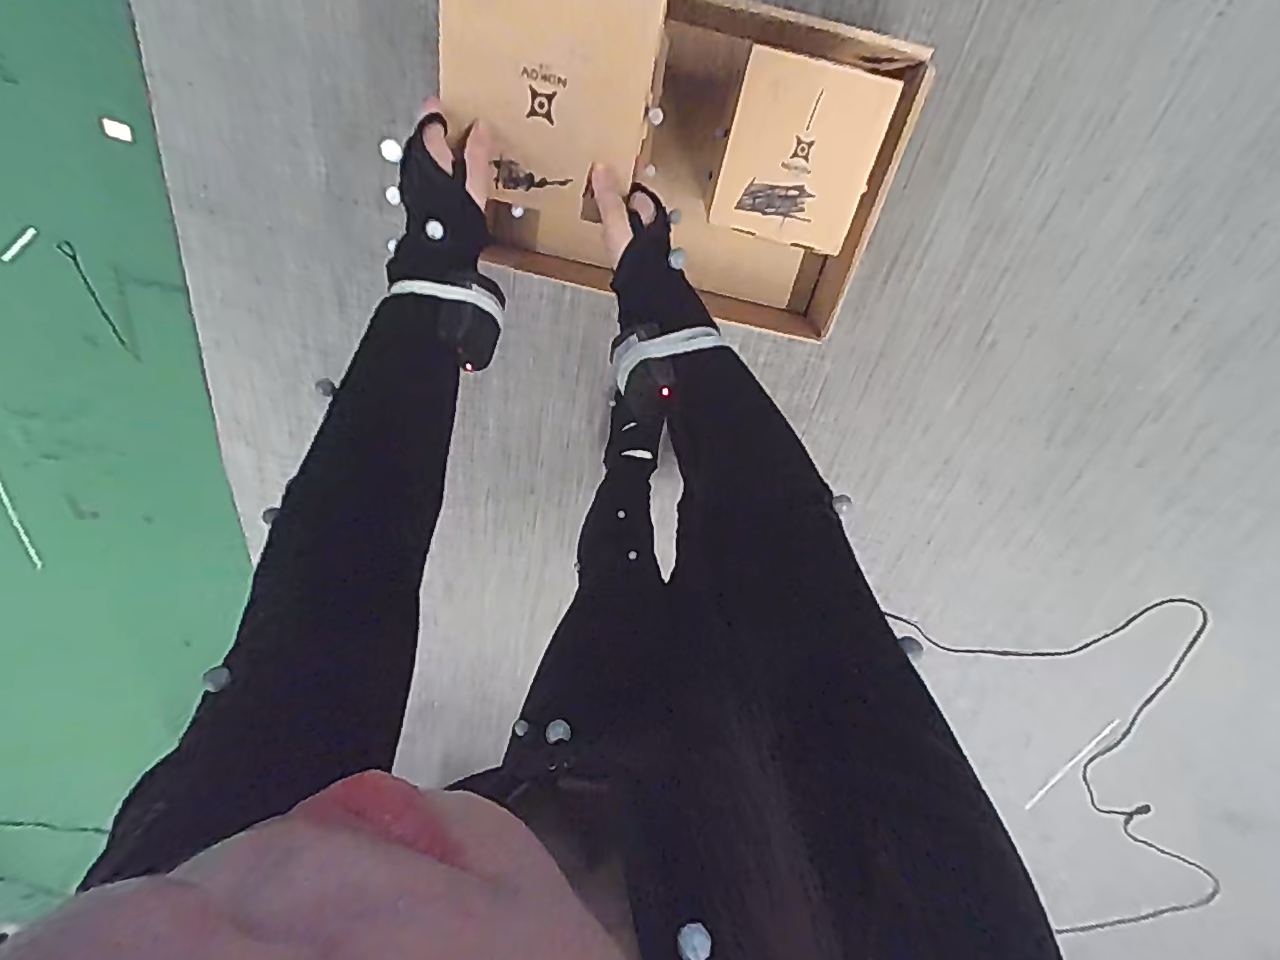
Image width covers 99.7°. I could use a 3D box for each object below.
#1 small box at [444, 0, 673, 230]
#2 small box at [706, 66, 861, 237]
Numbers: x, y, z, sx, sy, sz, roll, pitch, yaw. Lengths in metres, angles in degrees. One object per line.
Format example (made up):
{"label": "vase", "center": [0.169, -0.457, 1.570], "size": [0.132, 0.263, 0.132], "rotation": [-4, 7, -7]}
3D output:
{"label": "small box", "center": [-0.071, -0.357, 0.497], "size": [0.168, 0.176, 0.179], "rotation": [11, 126, -6]}
{"label": "small box", "center": [0.202, -0.489, 0.813], "size": [0.168, 0.176, 0.179], "rotation": [13, 122, -2]}
